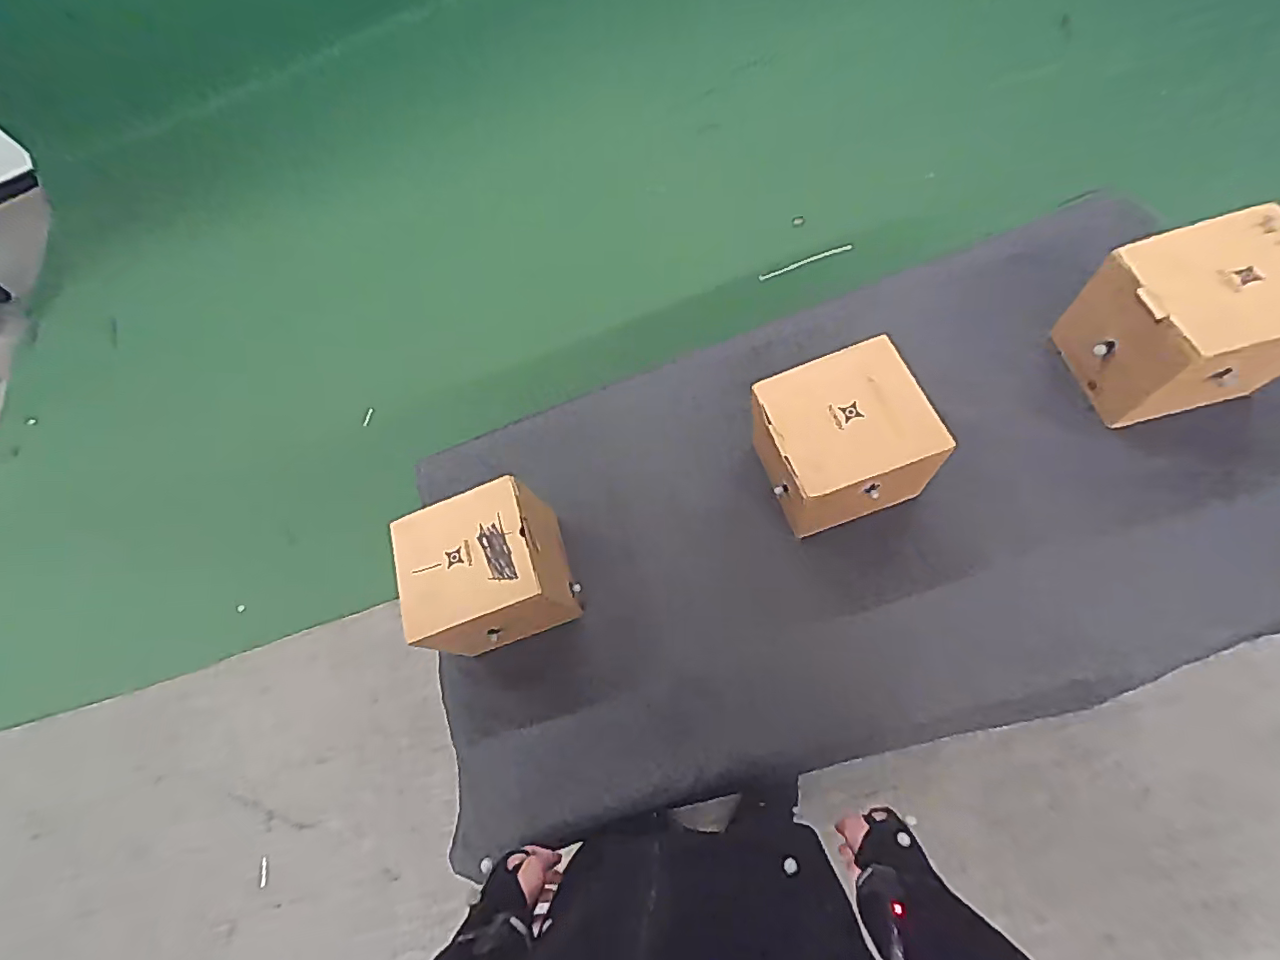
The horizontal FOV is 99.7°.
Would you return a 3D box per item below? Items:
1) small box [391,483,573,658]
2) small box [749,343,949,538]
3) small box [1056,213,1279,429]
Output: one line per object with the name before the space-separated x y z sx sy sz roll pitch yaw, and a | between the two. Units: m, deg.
small box | -0.203 0.131 0.735 0.179 0.176 0.168 -22 65 4
small box | 0.255 -0.040 0.707 0.179 0.176 0.168 -20 66 2
small box | 0.666 -0.184 0.670 0.179 0.176 0.168 -15 66 7
